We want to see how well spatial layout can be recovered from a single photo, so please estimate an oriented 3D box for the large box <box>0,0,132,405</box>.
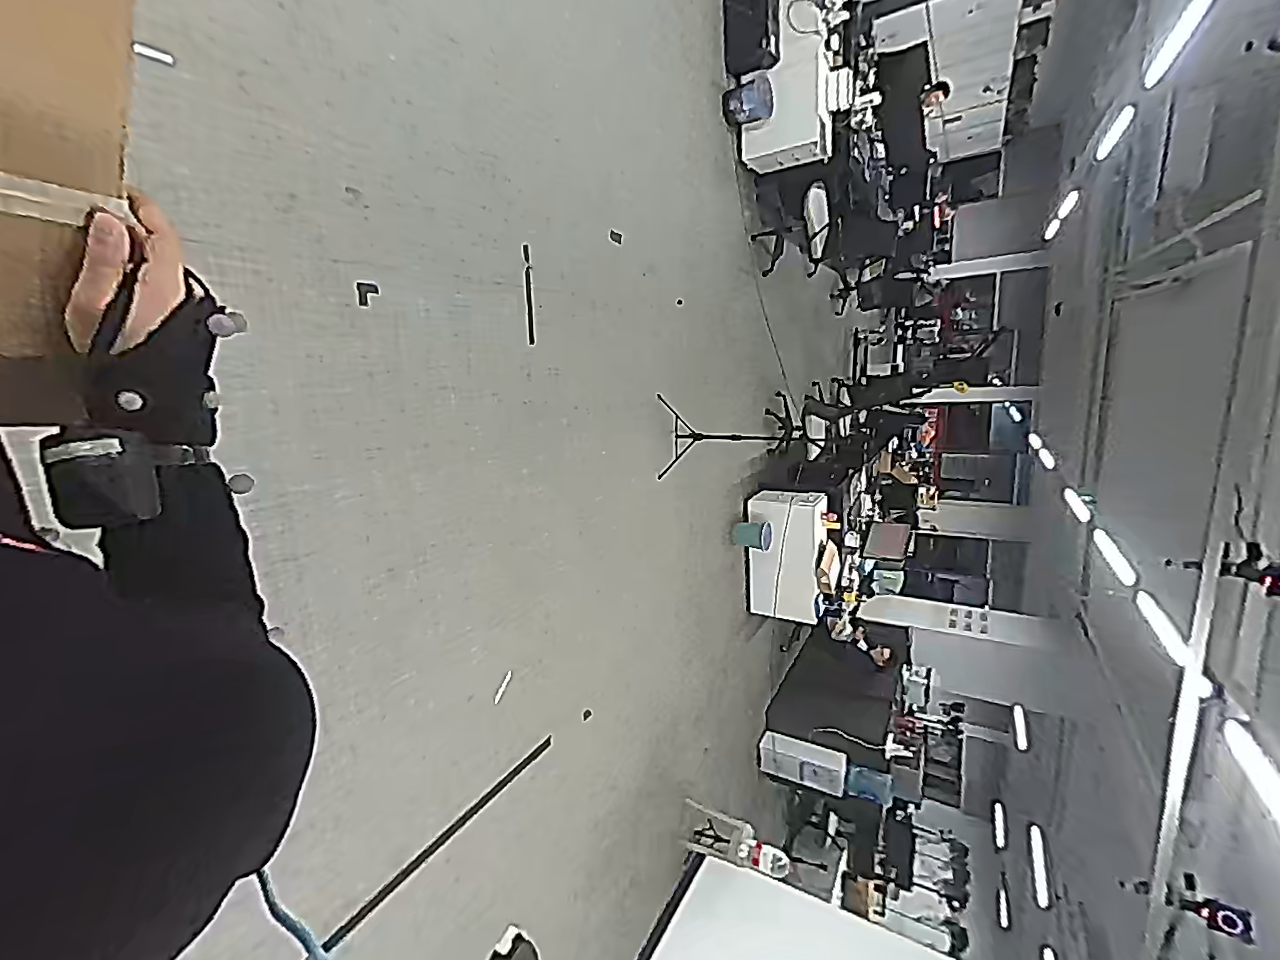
[{"bbox_3d":[-0.547,-0.244,0.244,0.408,0.320,0.320,-10,137,-54],"label":"large box"}]
